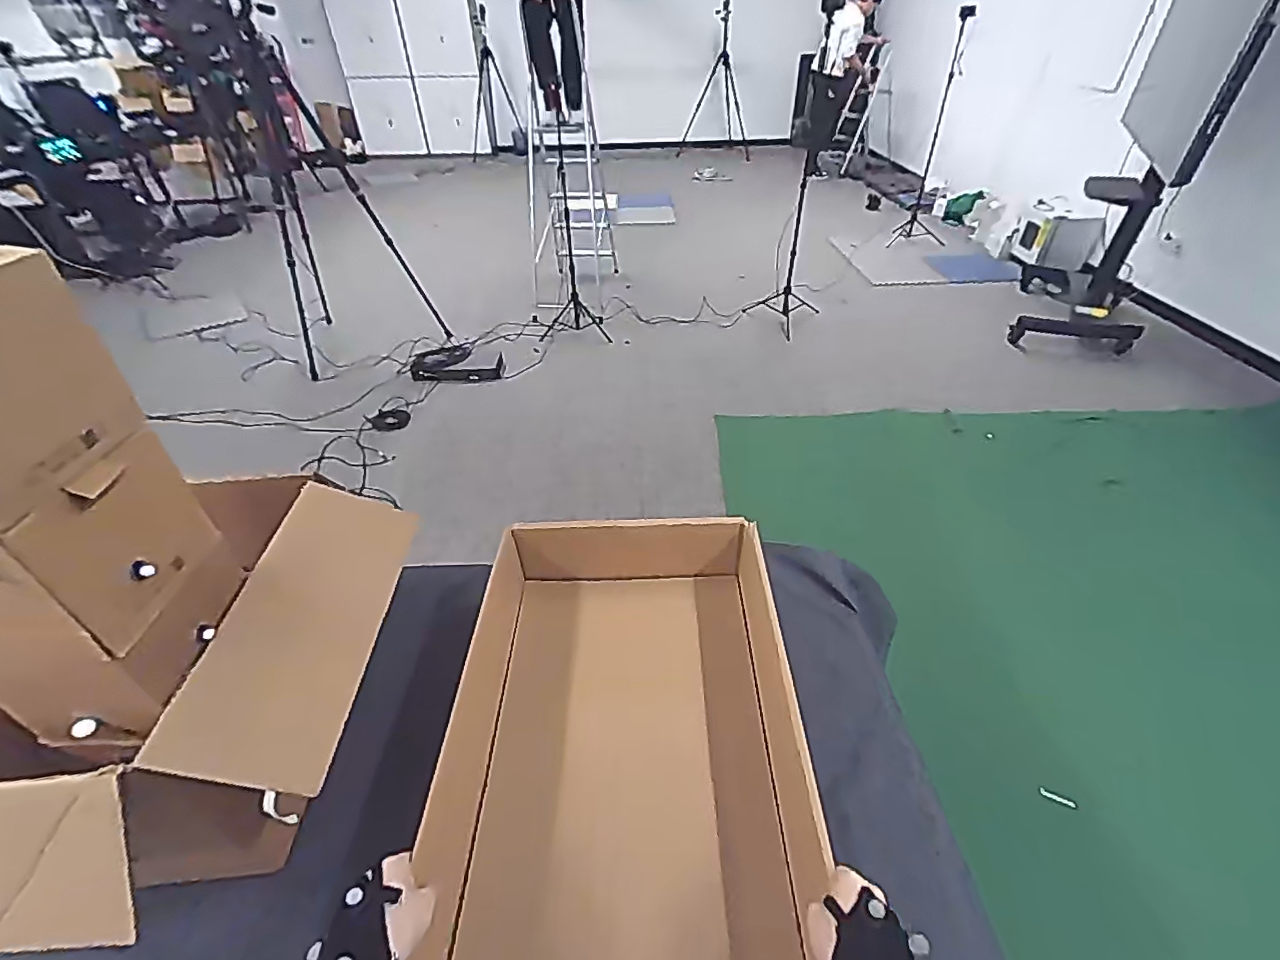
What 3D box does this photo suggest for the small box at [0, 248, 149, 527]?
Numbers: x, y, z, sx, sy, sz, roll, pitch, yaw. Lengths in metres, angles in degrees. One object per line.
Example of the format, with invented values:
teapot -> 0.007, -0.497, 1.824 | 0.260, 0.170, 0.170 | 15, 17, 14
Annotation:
small box -> -0.563, -0.073, 0.423 | 0.179, 0.176, 0.168 | 3, 39, -2

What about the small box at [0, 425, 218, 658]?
small box -> -0.573, 0.056, 0.525 | 0.179, 0.176, 0.168 | 3, 39, -4
